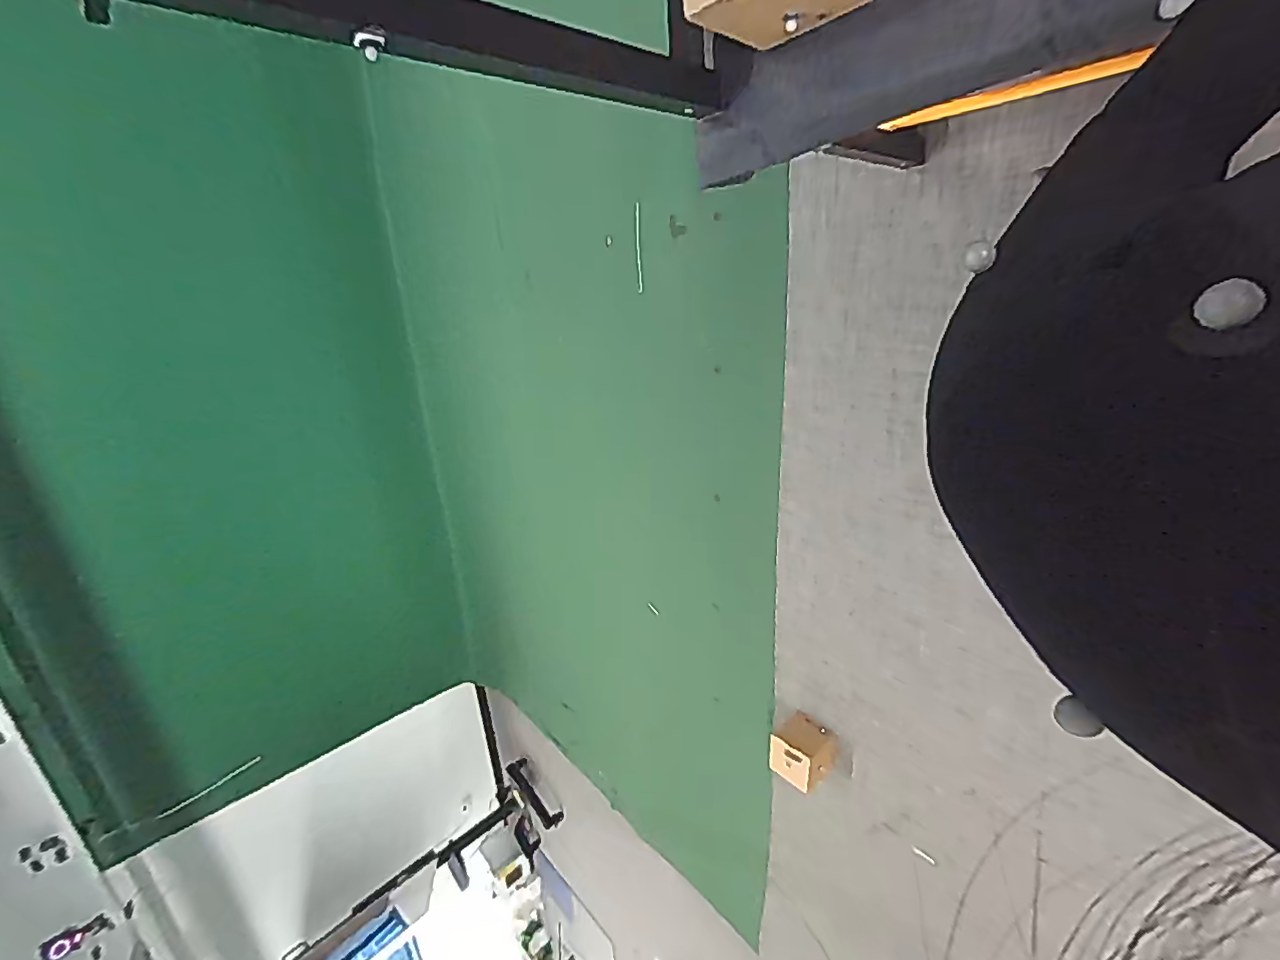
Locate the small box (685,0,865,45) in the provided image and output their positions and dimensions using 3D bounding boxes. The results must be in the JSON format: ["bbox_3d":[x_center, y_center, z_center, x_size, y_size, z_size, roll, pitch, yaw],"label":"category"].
[{"bbox_3d":[0.166,-0.662,0.636,0.168,0.176,0.179,14,116,46],"label":"small box"}]

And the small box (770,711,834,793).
[{"bbox_3d":[0.608,1.006,2.019,0.168,0.176,0.179,20,121,44],"label":"small box"}]
